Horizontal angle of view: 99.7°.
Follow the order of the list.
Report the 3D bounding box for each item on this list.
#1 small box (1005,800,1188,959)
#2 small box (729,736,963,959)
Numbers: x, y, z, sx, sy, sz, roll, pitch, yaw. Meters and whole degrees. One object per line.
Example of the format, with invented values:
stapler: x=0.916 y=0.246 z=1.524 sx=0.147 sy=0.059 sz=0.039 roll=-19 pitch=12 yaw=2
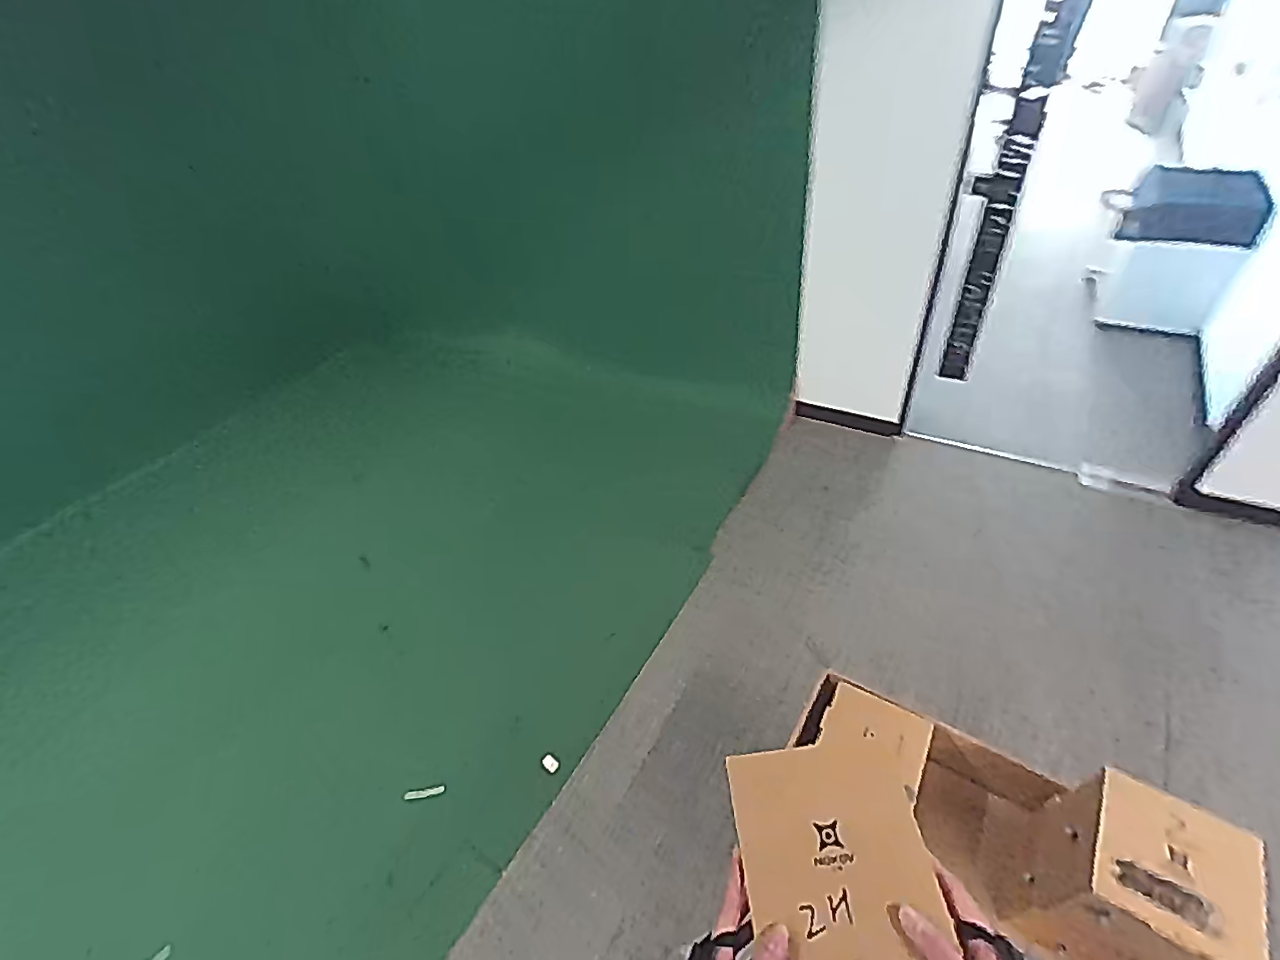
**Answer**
small box: x=0.708 y=0.656 z=0.852 sx=0.168 sy=0.176 sz=0.179 roll=22 pitch=53 yaw=29
small box: x=0.190 y=0.387 z=0.554 sx=0.168 sy=0.176 sz=0.179 roll=-11 pitch=48 yaw=6
